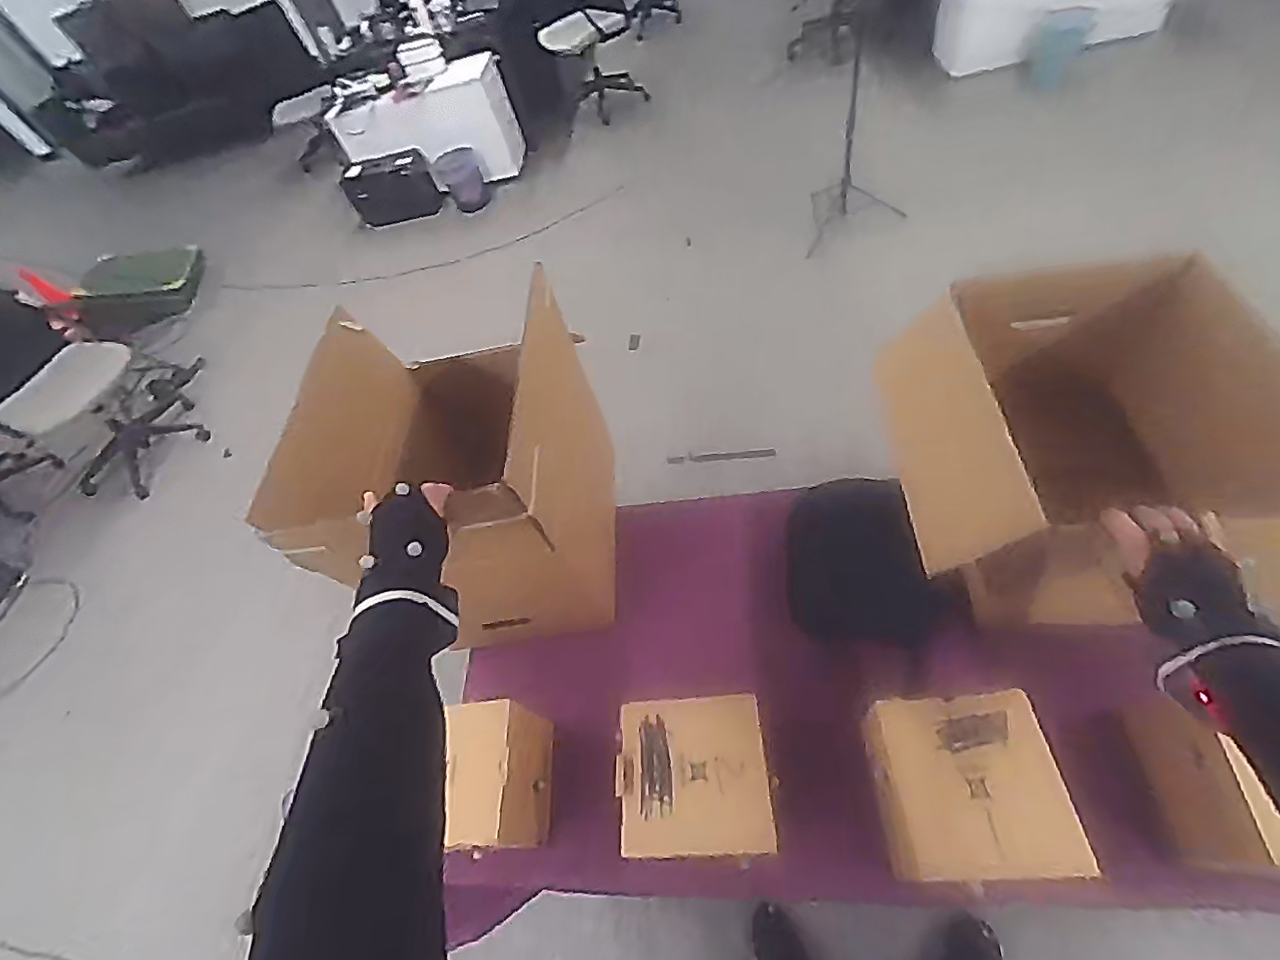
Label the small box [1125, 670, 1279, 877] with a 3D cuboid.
[{"bbox_3d":[0.682,0.320,0.583,0.168,0.176,0.179,-3,55,15],"label":"small box"}]

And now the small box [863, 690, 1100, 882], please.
[{"bbox_3d":[0.375,0.364,0.640,0.168,0.176,0.179,-9,55,10],"label":"small box"}]

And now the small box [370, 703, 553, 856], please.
[{"bbox_3d":[-0.237,0.428,0.766,0.179,0.176,0.168,-9,54,8],"label":"small box"}]
